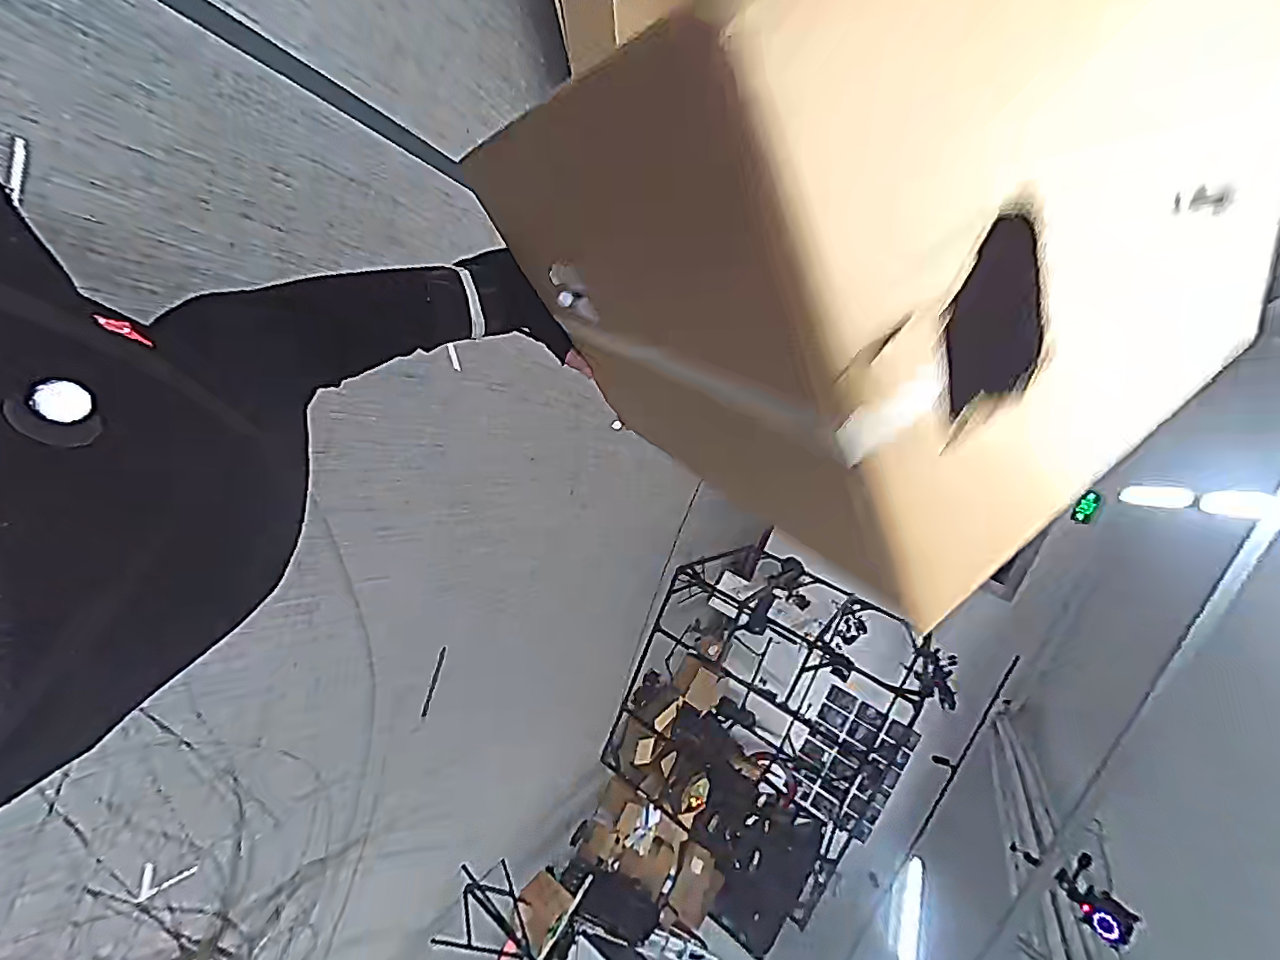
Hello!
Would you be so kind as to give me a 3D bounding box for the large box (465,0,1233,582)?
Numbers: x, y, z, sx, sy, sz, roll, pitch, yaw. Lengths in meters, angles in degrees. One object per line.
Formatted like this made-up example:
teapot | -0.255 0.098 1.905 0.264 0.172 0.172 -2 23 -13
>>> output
large box | 0.117 -0.200 0.426 0.320 0.408 0.320 -40 124 -9
